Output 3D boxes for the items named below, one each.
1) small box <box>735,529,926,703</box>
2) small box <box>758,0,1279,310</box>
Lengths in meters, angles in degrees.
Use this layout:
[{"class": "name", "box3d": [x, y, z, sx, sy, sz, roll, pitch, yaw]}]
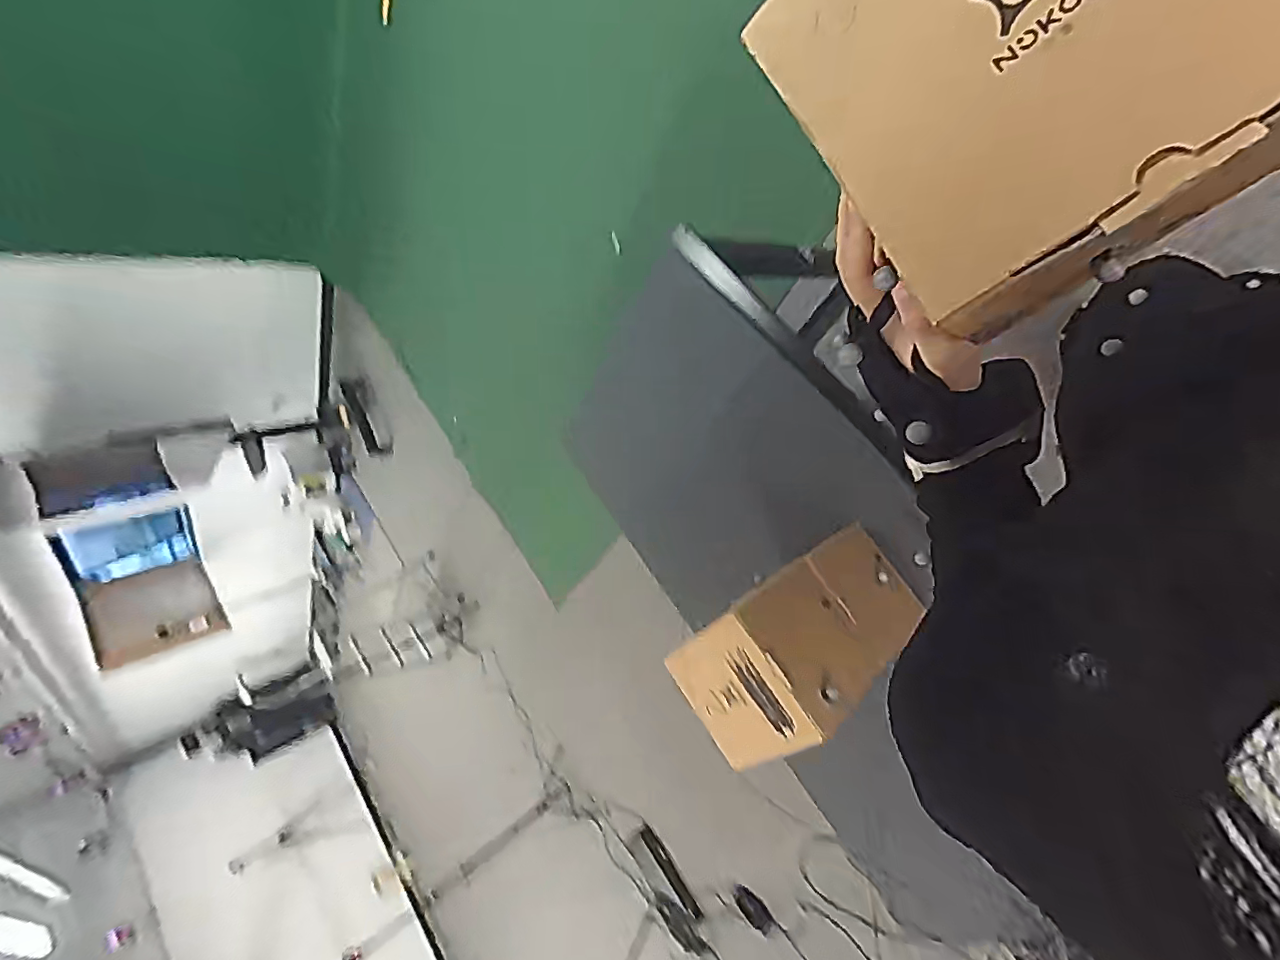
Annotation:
[{"class": "small box", "box3d": [0.285, 0.200, 0.810, 0.168, 0.176, 0.179, 56, 136, 15]}, {"class": "small box", "box3d": [0.188, -0.202, 0.252, 0.168, 0.176, 0.179, -35, 77, 36]}]
